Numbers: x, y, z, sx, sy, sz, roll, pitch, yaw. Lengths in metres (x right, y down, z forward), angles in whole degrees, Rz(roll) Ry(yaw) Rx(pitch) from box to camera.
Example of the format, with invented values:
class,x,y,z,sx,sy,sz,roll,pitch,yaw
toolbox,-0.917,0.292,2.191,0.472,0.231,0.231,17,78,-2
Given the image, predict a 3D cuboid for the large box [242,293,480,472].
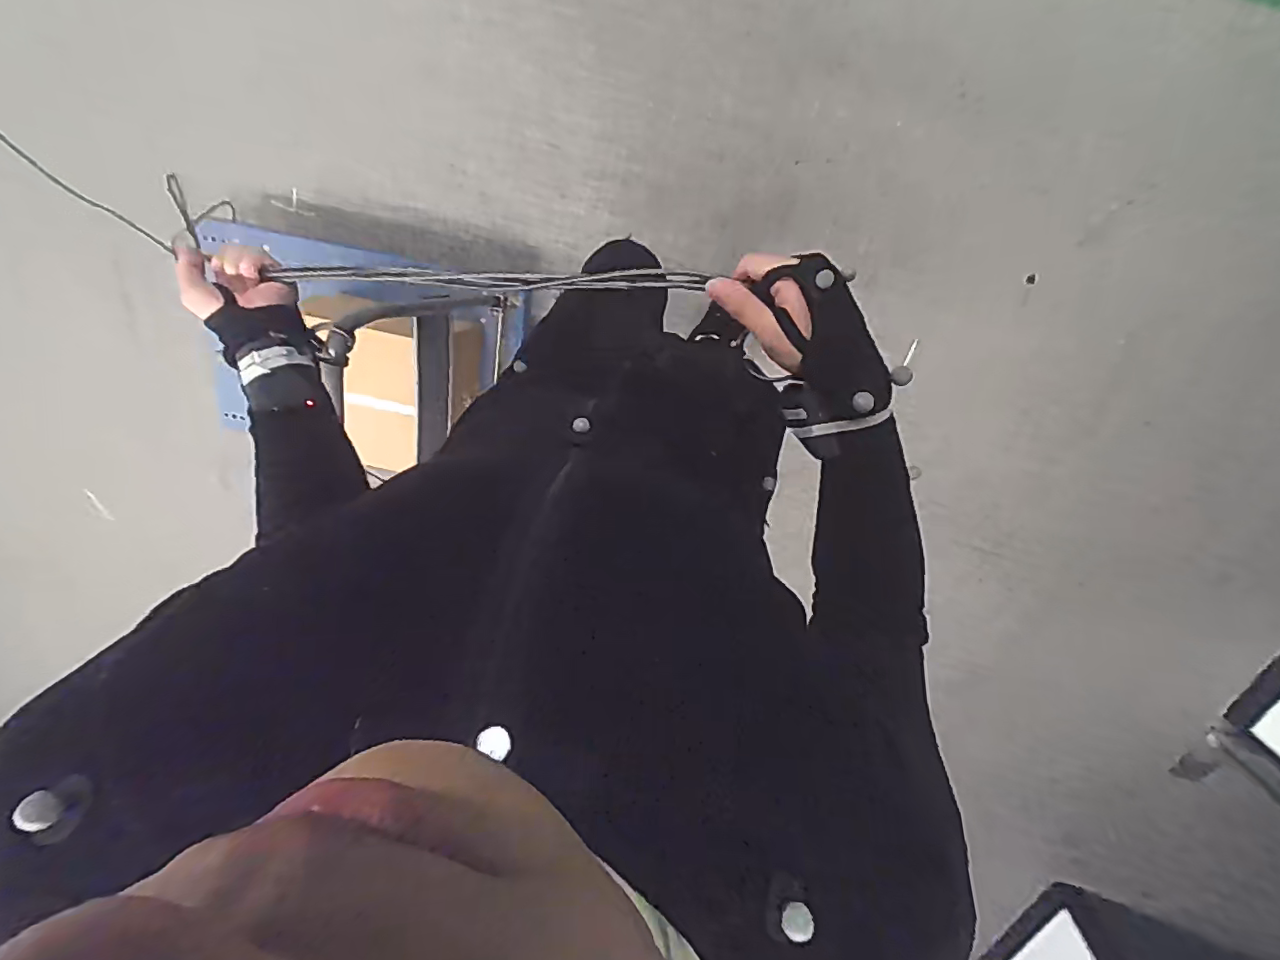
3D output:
class,x,y,z,sx,sy,sz,roll,pitch,yaw
large box,-0.638,-0.250,1.304,0.408,0.320,0.320,13,113,3
